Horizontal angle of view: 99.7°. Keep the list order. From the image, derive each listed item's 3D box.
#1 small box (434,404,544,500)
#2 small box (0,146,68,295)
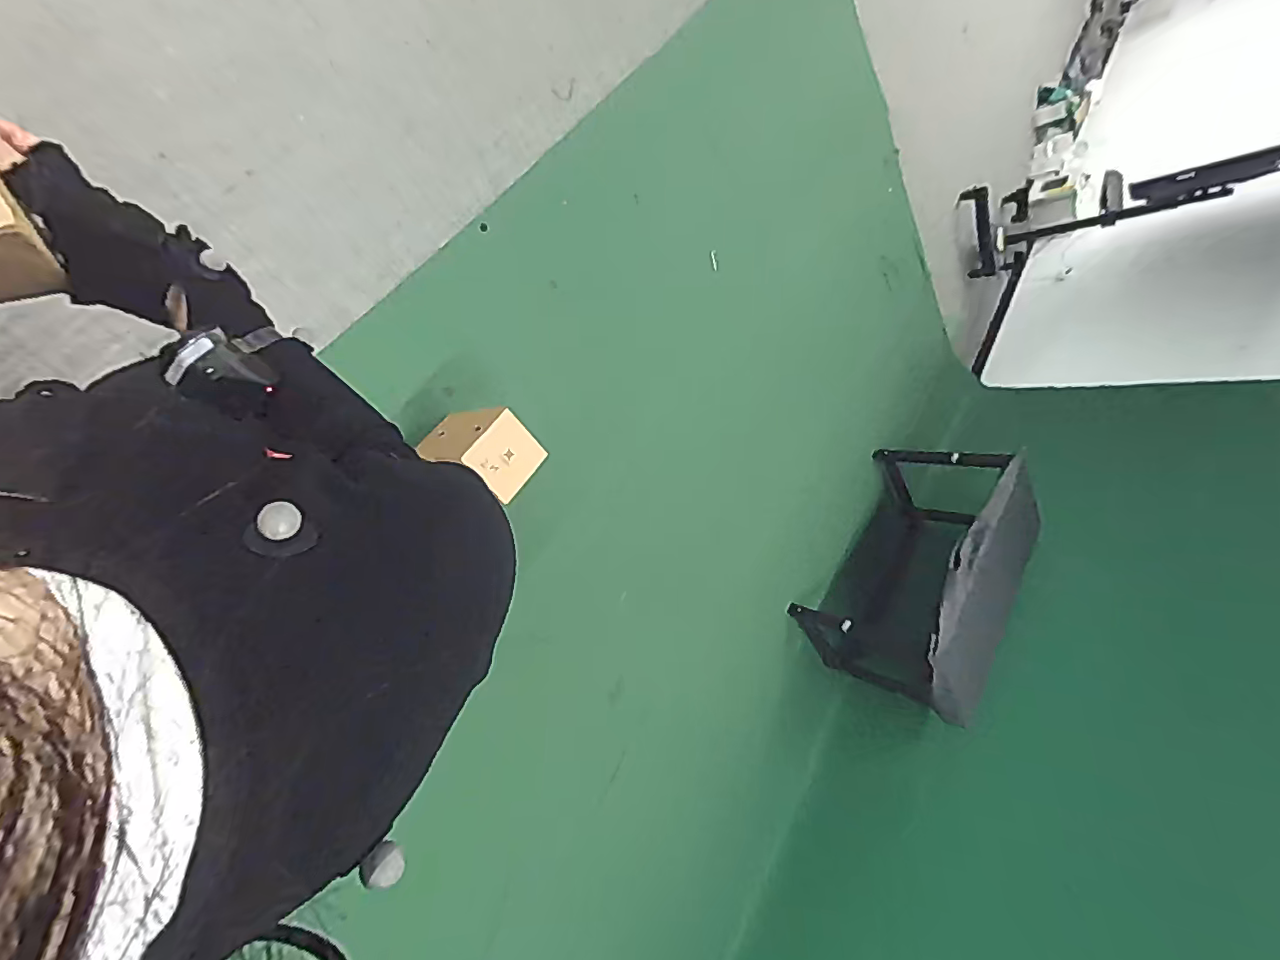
[{"bbox_3d":[-0.385,-0.074,1.368,0.179,0.176,0.168,-54,126,-24],"label":"small box"},{"bbox_3d":[-0.473,-0.192,0.293,0.168,0.176,0.179,-31,112,-34],"label":"small box"}]
